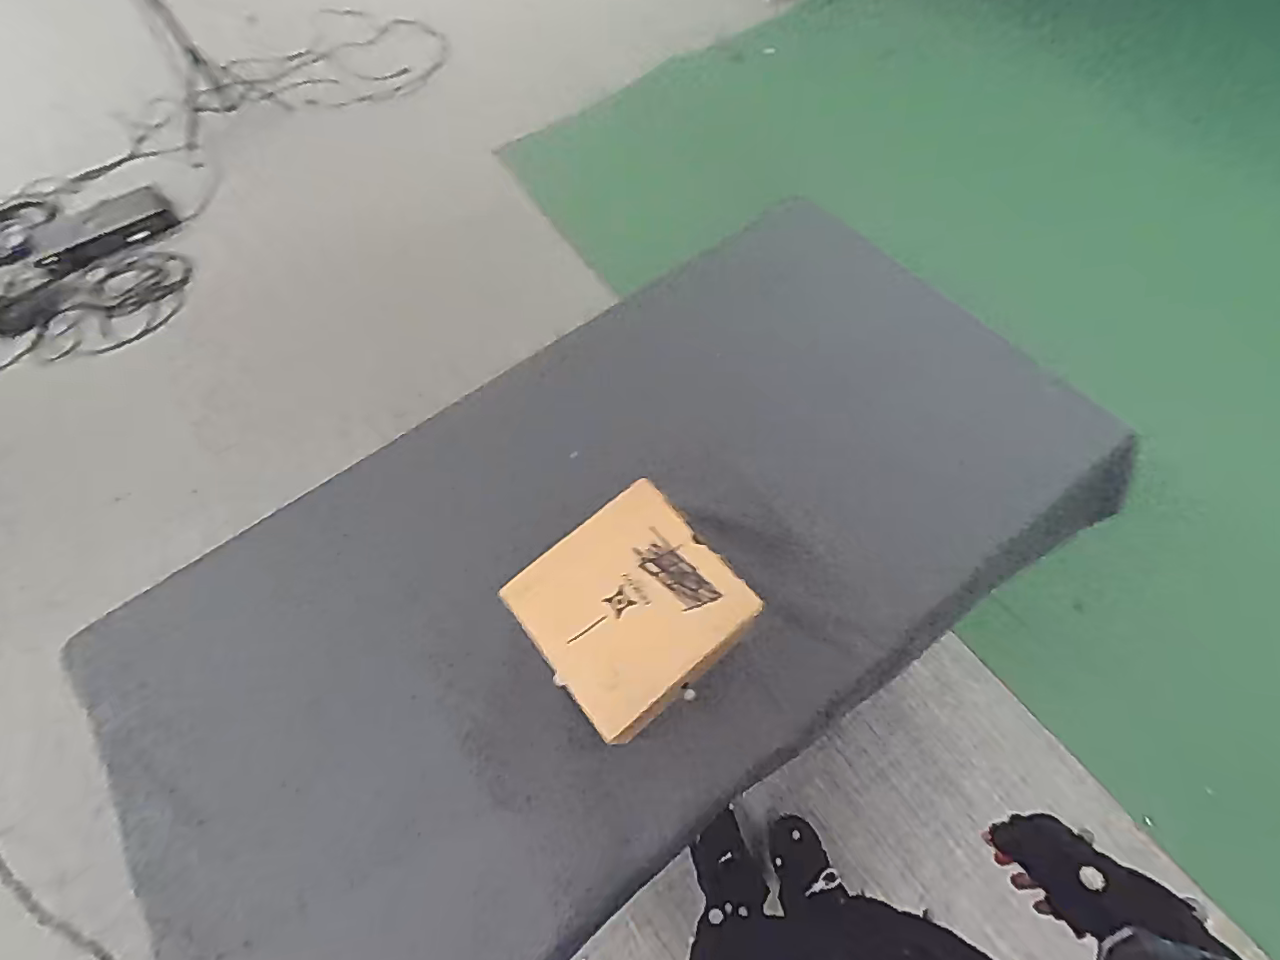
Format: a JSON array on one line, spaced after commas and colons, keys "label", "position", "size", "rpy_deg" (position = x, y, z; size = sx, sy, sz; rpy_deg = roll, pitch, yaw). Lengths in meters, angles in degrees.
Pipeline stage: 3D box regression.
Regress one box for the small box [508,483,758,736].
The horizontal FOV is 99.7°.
[{"label": "small box", "position": [-0.005, 0.140, 0.566], "size": [0.179, 0.176, 0.168], "rpy_deg": [-38, 67, -13]}]
